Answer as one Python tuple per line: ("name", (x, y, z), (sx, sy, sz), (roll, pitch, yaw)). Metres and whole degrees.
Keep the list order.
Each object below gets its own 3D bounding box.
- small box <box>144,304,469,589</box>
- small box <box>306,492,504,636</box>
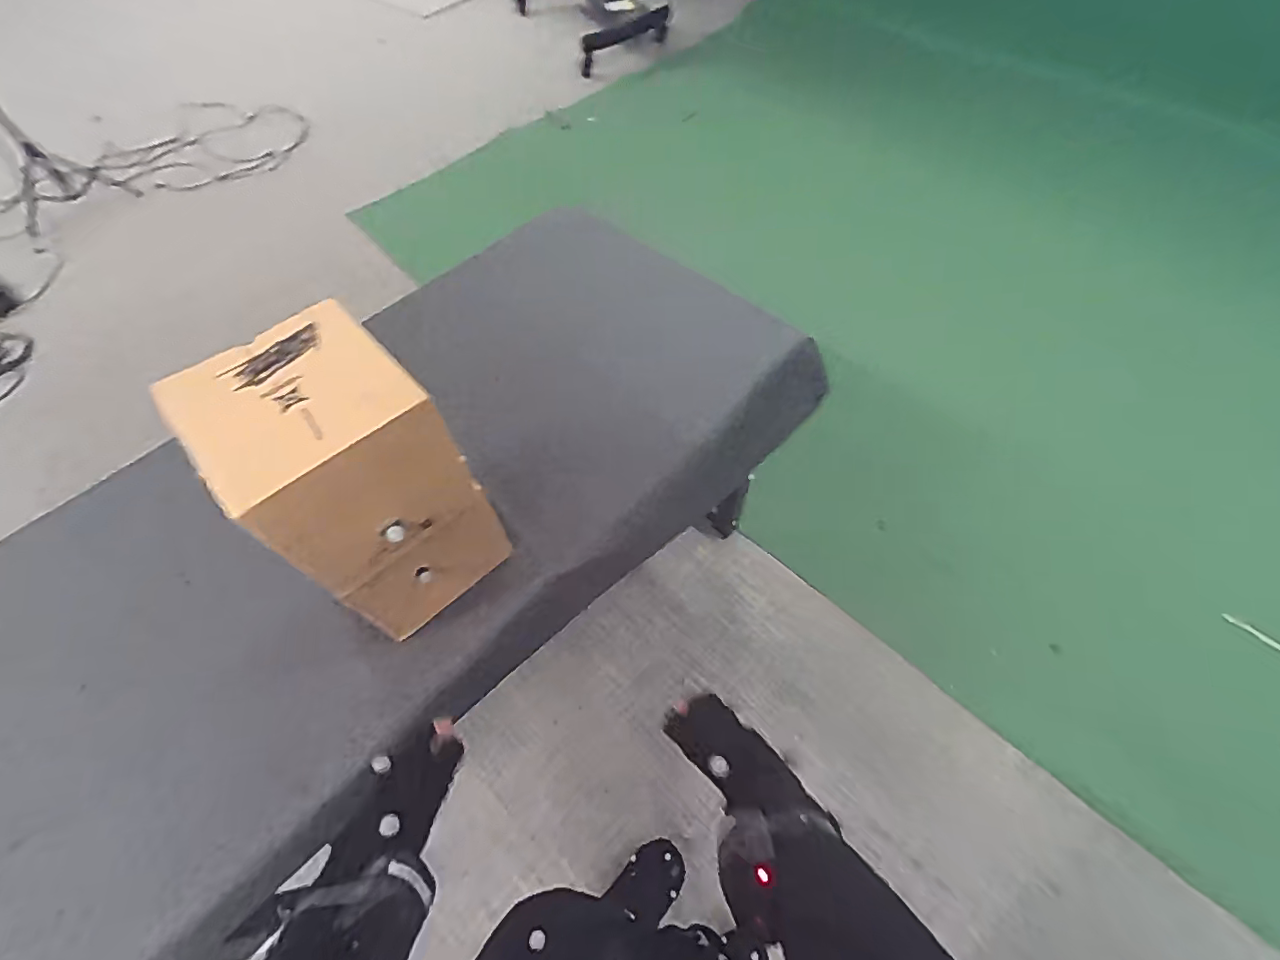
("small box", (-0.297, -0.027, 0.516), (0.179, 0.176, 0.168), (37, 66, 24))
("small box", (-0.295, 0.059, 0.656), (0.179, 0.176, 0.168), (-41, 65, -20))
